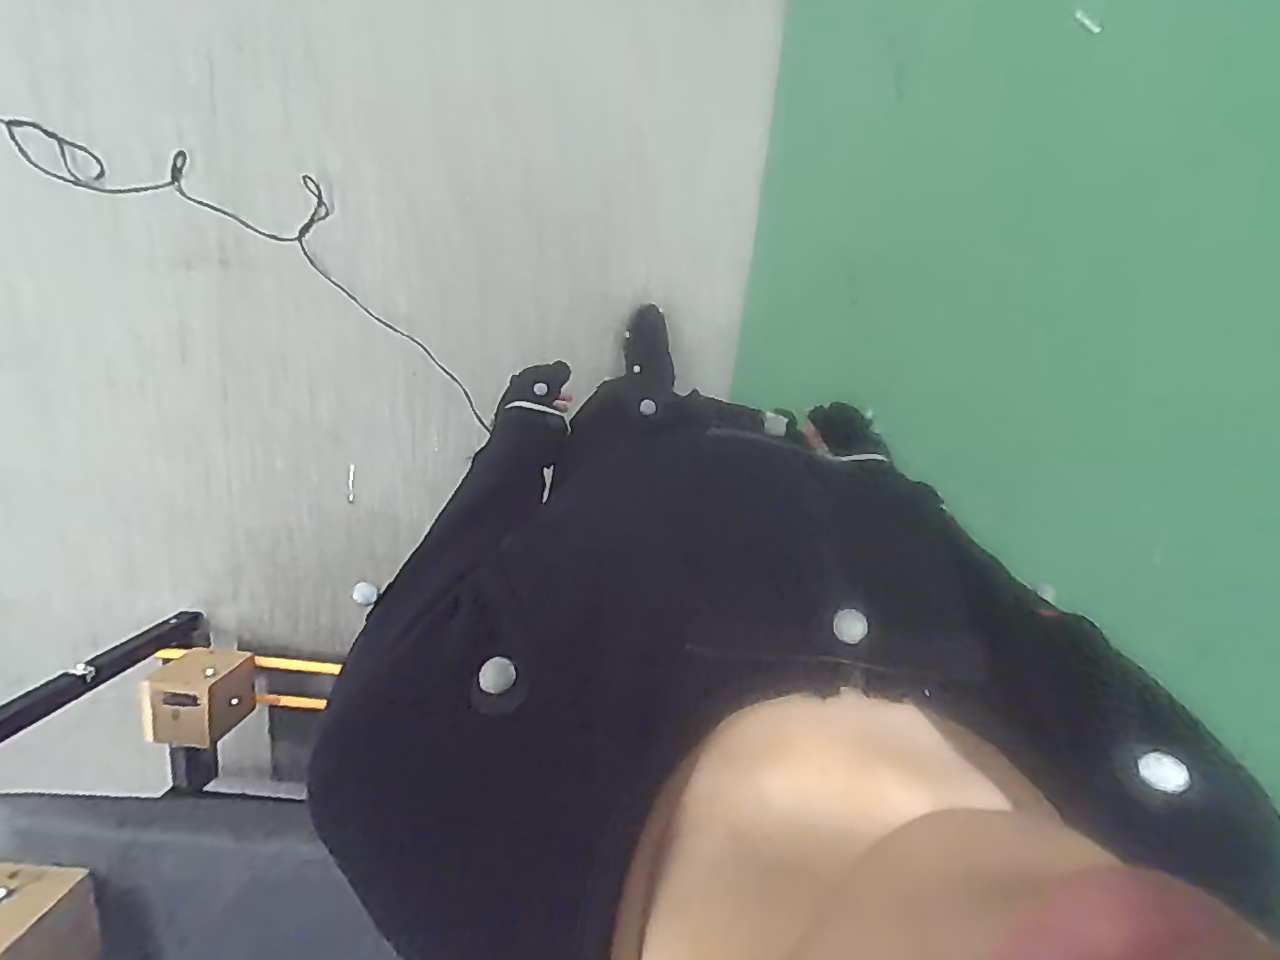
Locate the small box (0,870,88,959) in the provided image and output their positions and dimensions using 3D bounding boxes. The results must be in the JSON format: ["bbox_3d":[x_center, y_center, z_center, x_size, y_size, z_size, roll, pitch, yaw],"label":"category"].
[{"bbox_3d":[-0.967,0.717,0.786,0.168,0.176,0.179,5,102,-1],"label":"small box"}]
